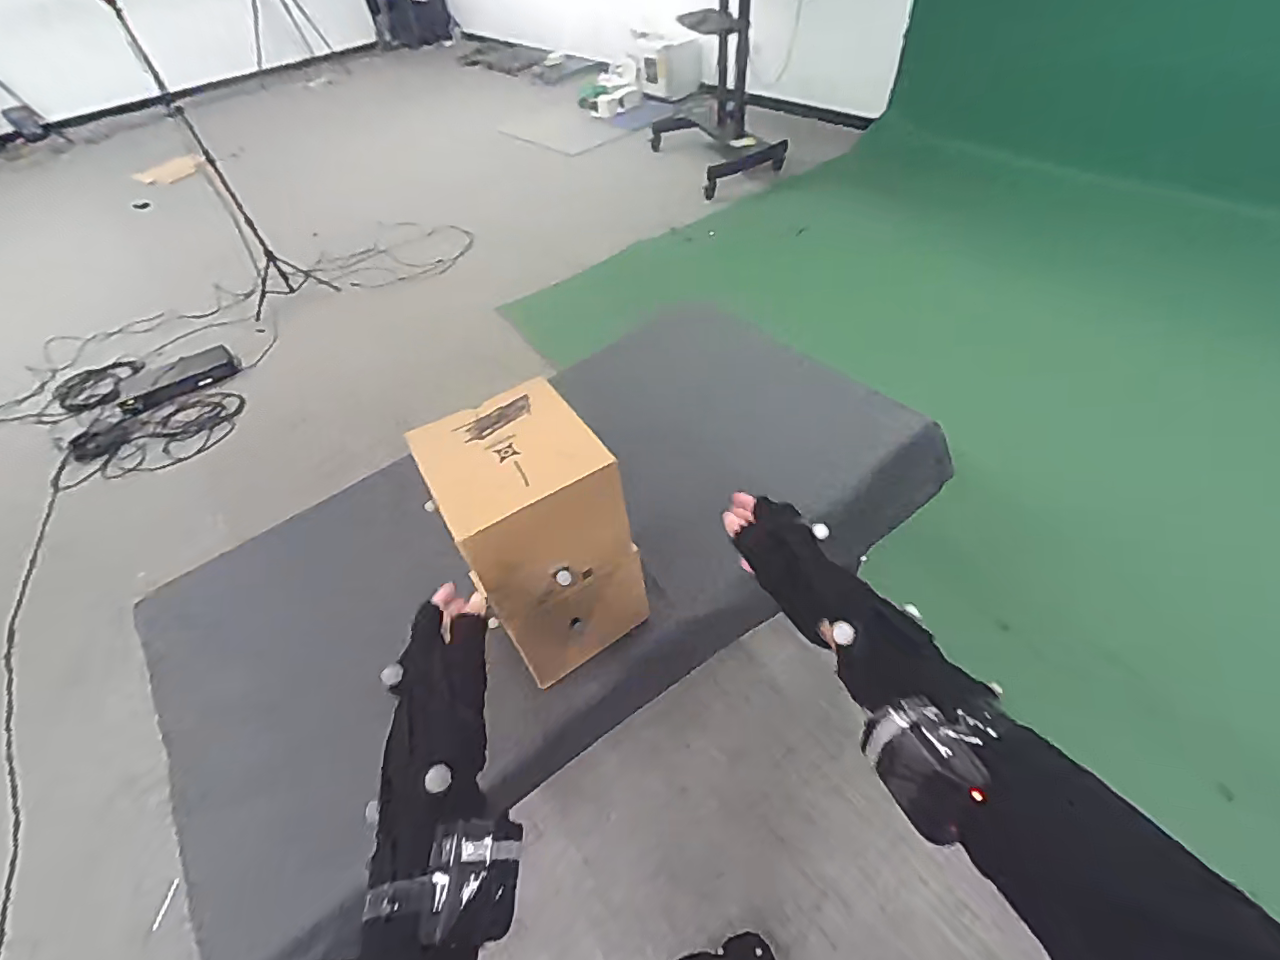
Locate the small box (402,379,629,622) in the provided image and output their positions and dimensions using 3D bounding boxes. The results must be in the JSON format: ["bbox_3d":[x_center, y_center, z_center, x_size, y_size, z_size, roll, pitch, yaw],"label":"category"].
[{"bbox_3d":[-0.131,0.021,0.604,0.168,0.176,0.179,-31,49,-19],"label":"small box"}]

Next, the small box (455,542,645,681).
[{"bbox_3d":[-0.111,0.133,0.723,0.179,0.176,0.168,-31,51,-18],"label":"small box"}]
